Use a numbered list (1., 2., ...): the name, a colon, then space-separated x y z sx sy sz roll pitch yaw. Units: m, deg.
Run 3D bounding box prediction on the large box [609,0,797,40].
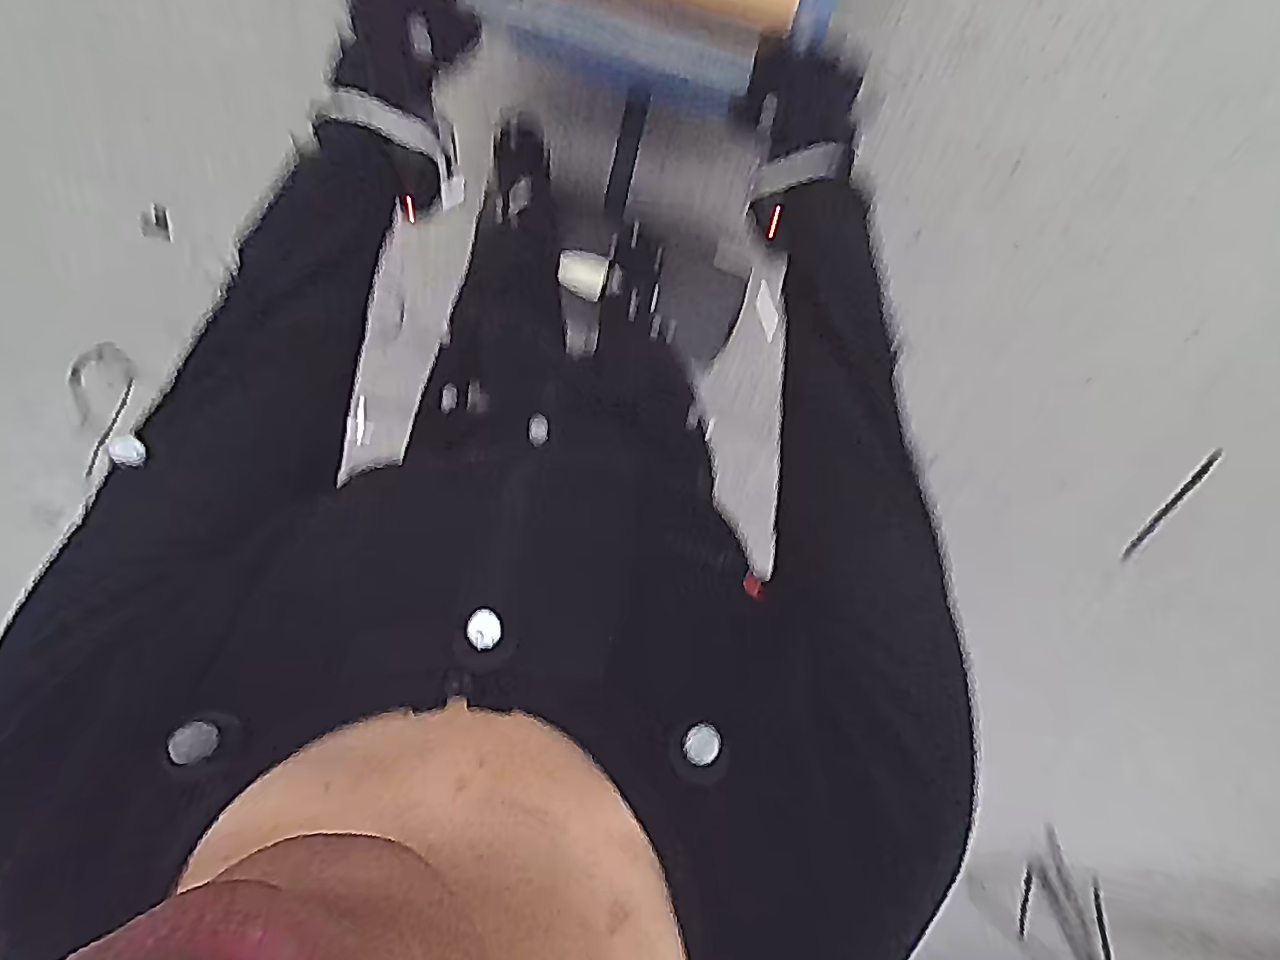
1. large box: 0.053 -0.883 0.763 0.408 0.320 0.320 12 123 -6
